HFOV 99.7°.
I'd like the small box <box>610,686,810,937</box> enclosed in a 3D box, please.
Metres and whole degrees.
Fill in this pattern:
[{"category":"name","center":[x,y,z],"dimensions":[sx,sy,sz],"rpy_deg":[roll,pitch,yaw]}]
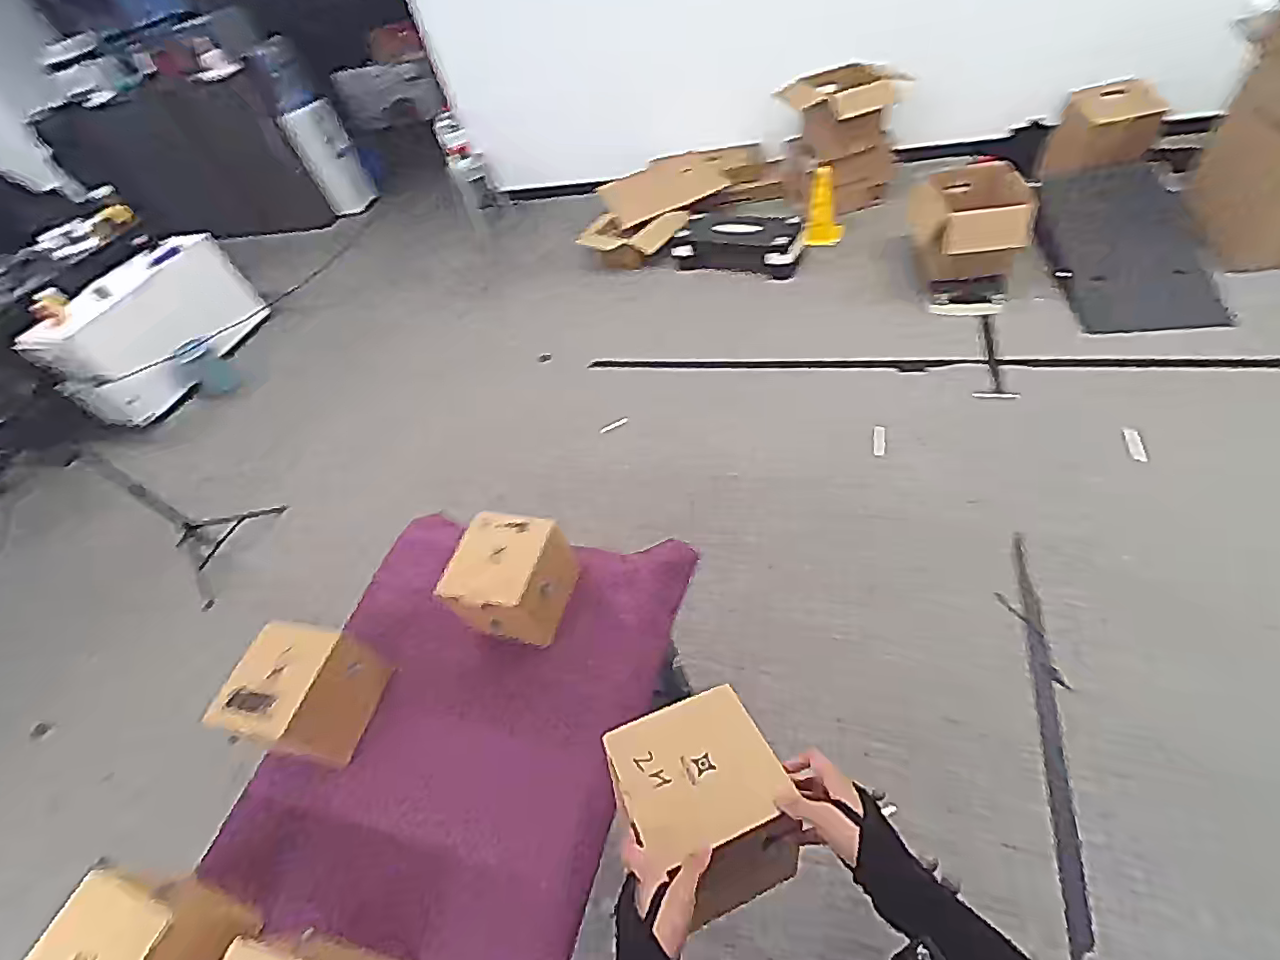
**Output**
[{"category":"small box","center":[0.077,0.389,0.647],"dimensions":[0.179,0.176,0.168],"rpy_deg":[-16,33,-14]}]

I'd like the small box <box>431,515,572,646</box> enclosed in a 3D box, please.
[{"category":"small box","center":[-0.244,0.190,1.007],"dimensions":[0.168,0.176,0.179],"rpy_deg":[6,54,19]}]

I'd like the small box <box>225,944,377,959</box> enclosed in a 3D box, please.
[{"category":"small box","center":[-0.414,0.682,0.648],"dimensions":[0.179,0.176,0.168],"rpy_deg":[0,52,16]}]

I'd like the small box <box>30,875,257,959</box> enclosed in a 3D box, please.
[{"category":"small box","center":[-0.684,0.667,0.730],"dimensions":[0.179,0.176,0.168],"rpy_deg":[6,53,20]}]
